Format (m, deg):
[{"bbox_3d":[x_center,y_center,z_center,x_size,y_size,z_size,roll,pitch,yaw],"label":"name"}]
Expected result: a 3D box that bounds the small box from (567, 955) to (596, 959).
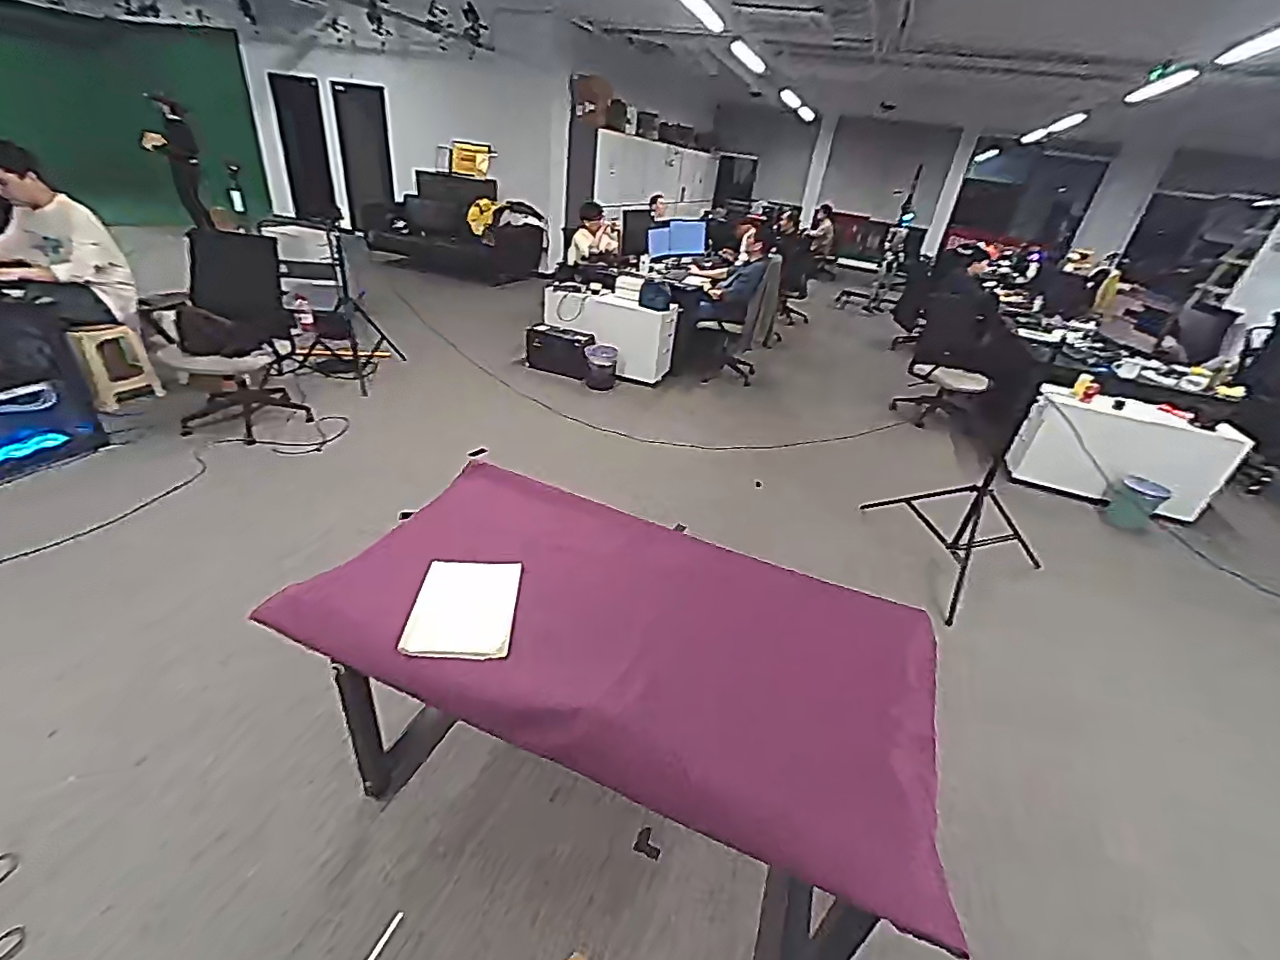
[{"bbox_3d":[-0.038,0.575,0.475,0.179,0.176,0.168,39,60,12],"label":"small box"}]
